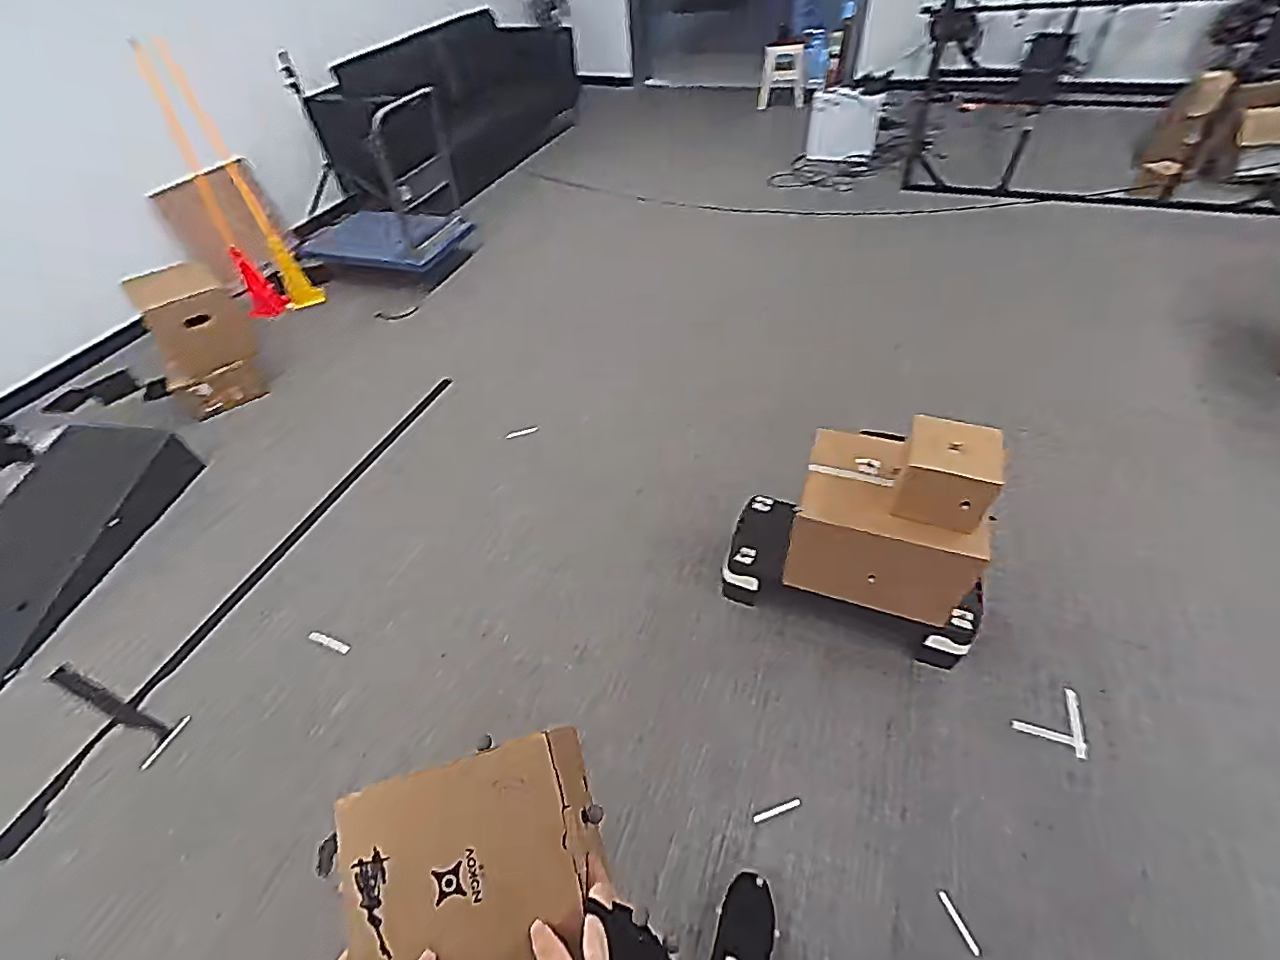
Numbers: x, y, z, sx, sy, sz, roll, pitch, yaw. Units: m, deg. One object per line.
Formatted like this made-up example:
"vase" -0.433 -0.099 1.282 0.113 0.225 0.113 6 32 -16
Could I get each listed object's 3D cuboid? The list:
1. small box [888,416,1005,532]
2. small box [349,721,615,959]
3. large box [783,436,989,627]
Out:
"small box" 0.661 -0.010 1.175 0.179 0.176 0.168 14 51 19
"small box" -0.124 0.321 0.477 0.179 0.176 0.168 -15 67 -6
"large box" 0.610 0.128 1.387 0.408 0.320 0.320 12 49 17
